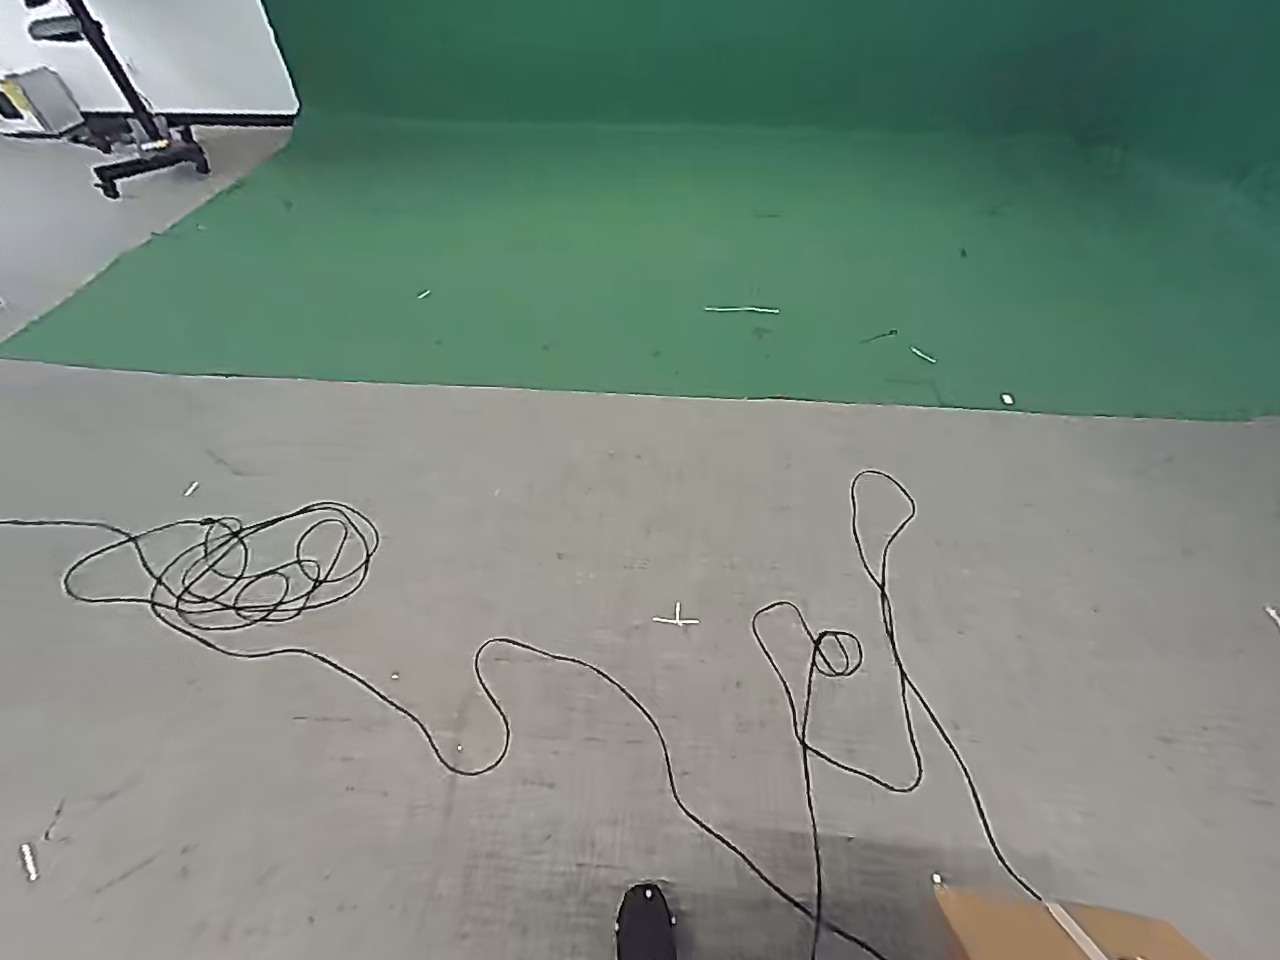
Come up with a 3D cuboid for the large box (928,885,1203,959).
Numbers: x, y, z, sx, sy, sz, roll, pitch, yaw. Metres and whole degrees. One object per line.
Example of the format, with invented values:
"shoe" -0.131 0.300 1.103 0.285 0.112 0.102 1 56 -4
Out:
"large box" 0.544 0.744 0.582 0.320 0.408 0.320 3 85 11
